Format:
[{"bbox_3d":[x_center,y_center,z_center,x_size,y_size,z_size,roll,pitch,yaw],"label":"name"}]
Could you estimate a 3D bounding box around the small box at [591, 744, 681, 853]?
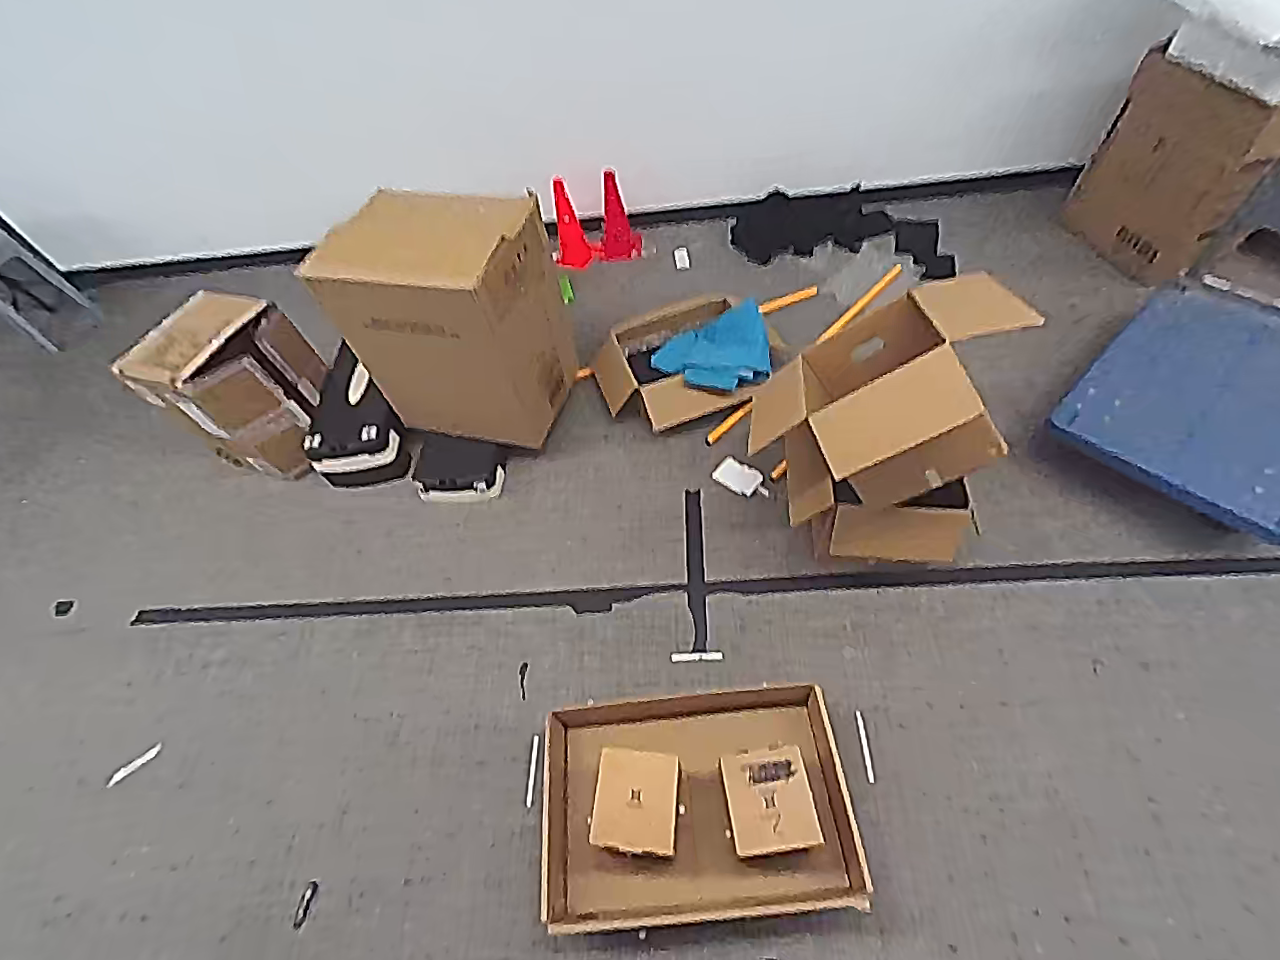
[{"bbox_3d":[0.000,0.678,1.148,0.168,0.176,0.179,2,55,7],"label":"small box"}]
